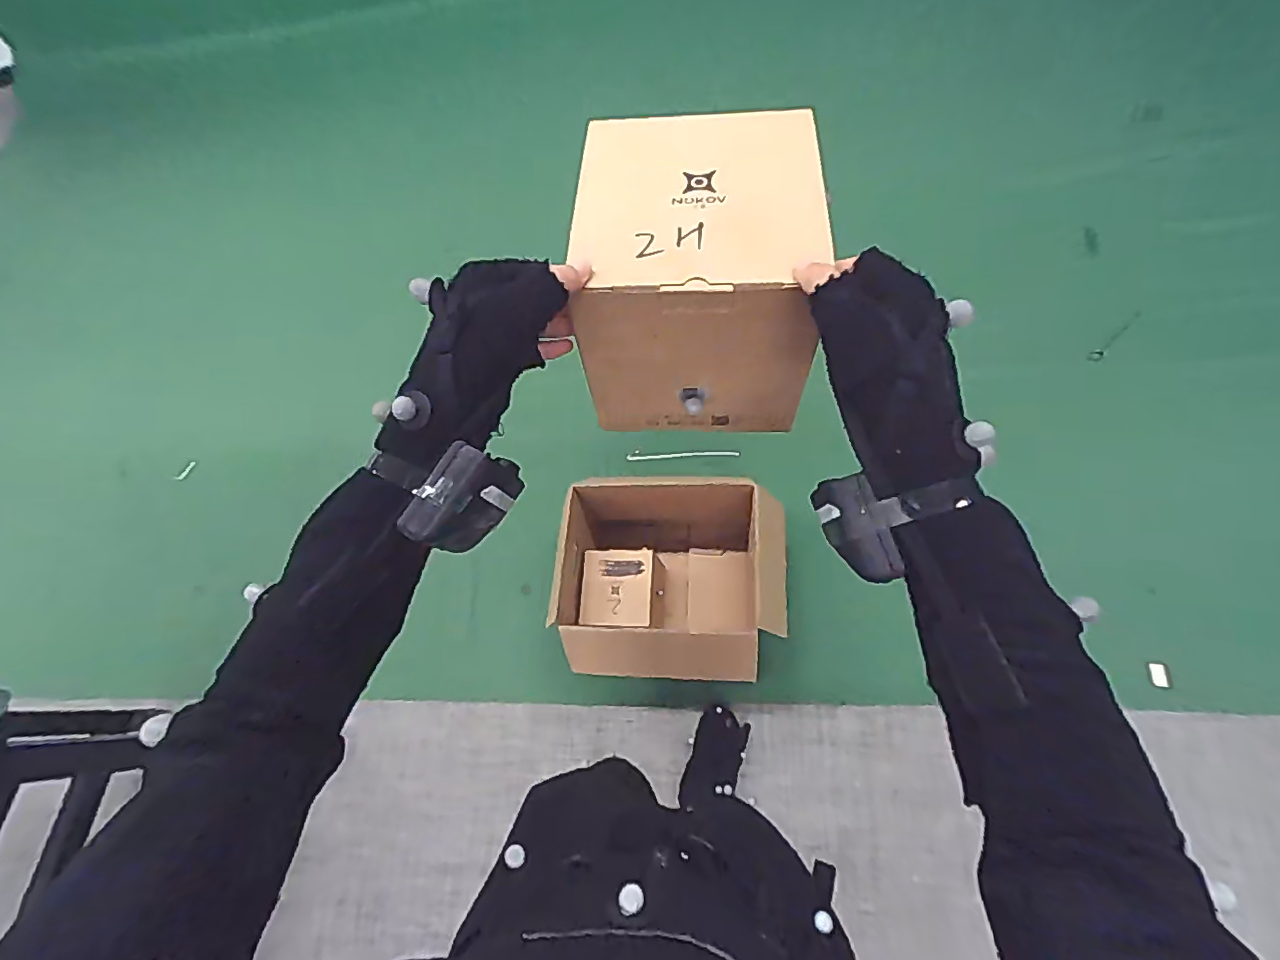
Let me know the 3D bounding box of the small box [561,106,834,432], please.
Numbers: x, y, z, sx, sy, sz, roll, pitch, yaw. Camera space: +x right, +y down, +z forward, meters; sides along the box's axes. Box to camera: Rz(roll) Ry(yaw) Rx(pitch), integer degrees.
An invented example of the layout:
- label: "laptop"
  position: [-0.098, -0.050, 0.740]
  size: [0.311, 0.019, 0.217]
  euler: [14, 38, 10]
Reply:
- label: "small box"
  position: [0.044, -0.158, 0.429]
  size: [0.168, 0.176, 0.179]
  euler: [1, 63, 6]
